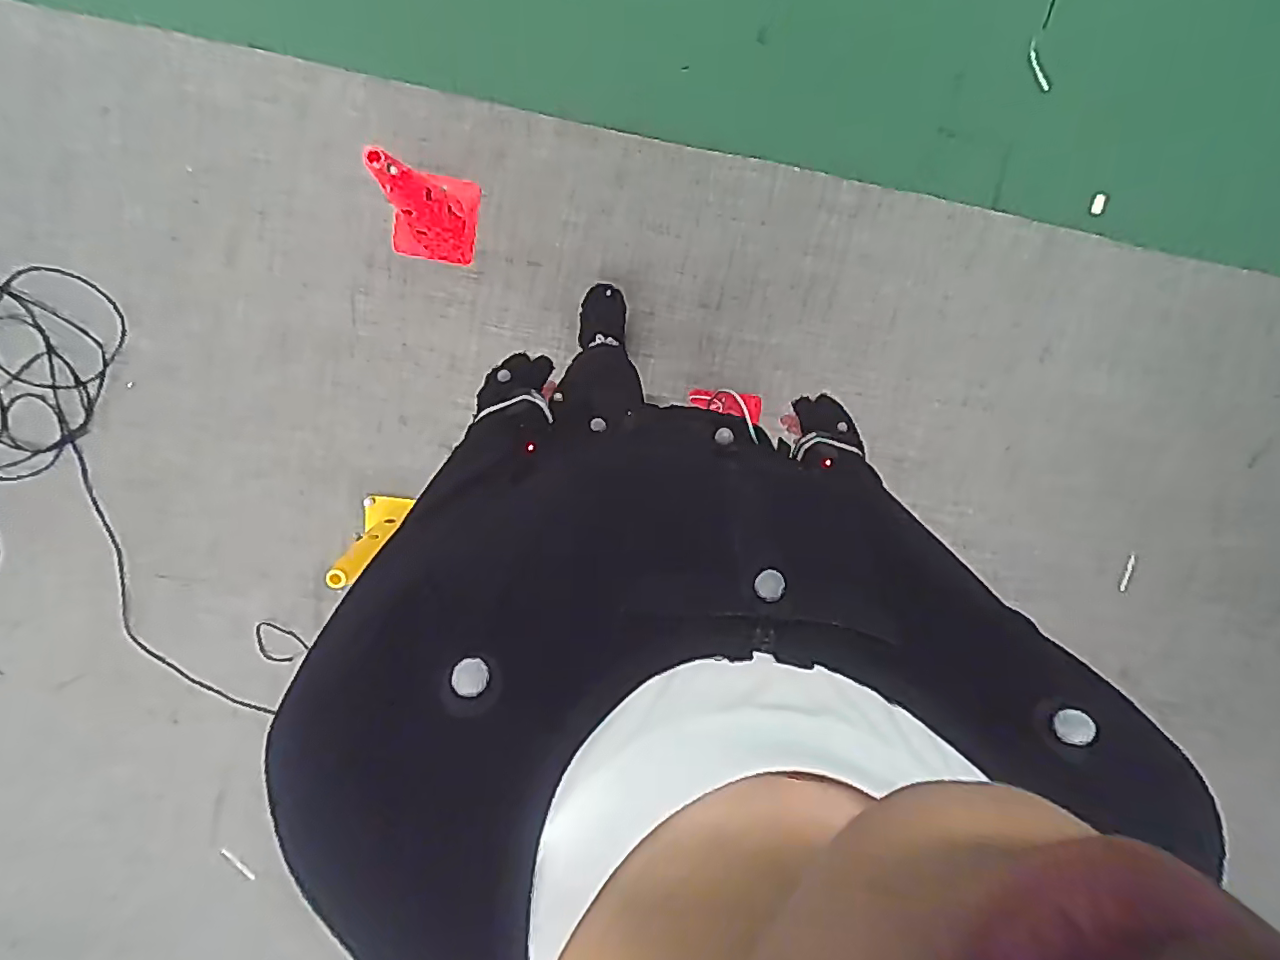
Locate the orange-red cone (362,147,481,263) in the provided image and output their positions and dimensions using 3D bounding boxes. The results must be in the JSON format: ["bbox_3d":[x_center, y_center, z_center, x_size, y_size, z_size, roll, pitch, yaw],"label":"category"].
[{"bbox_3d":[-0.496,-0.623,1.167,0.198,0.360,0.199,10,100,-3],"label":"orange-red cone"}]

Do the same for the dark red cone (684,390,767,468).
[{"bbox_3d":[0.229,-0.109,1.264,0.202,0.394,0.201,4,98,-3],"label":"dark red cone"}]
